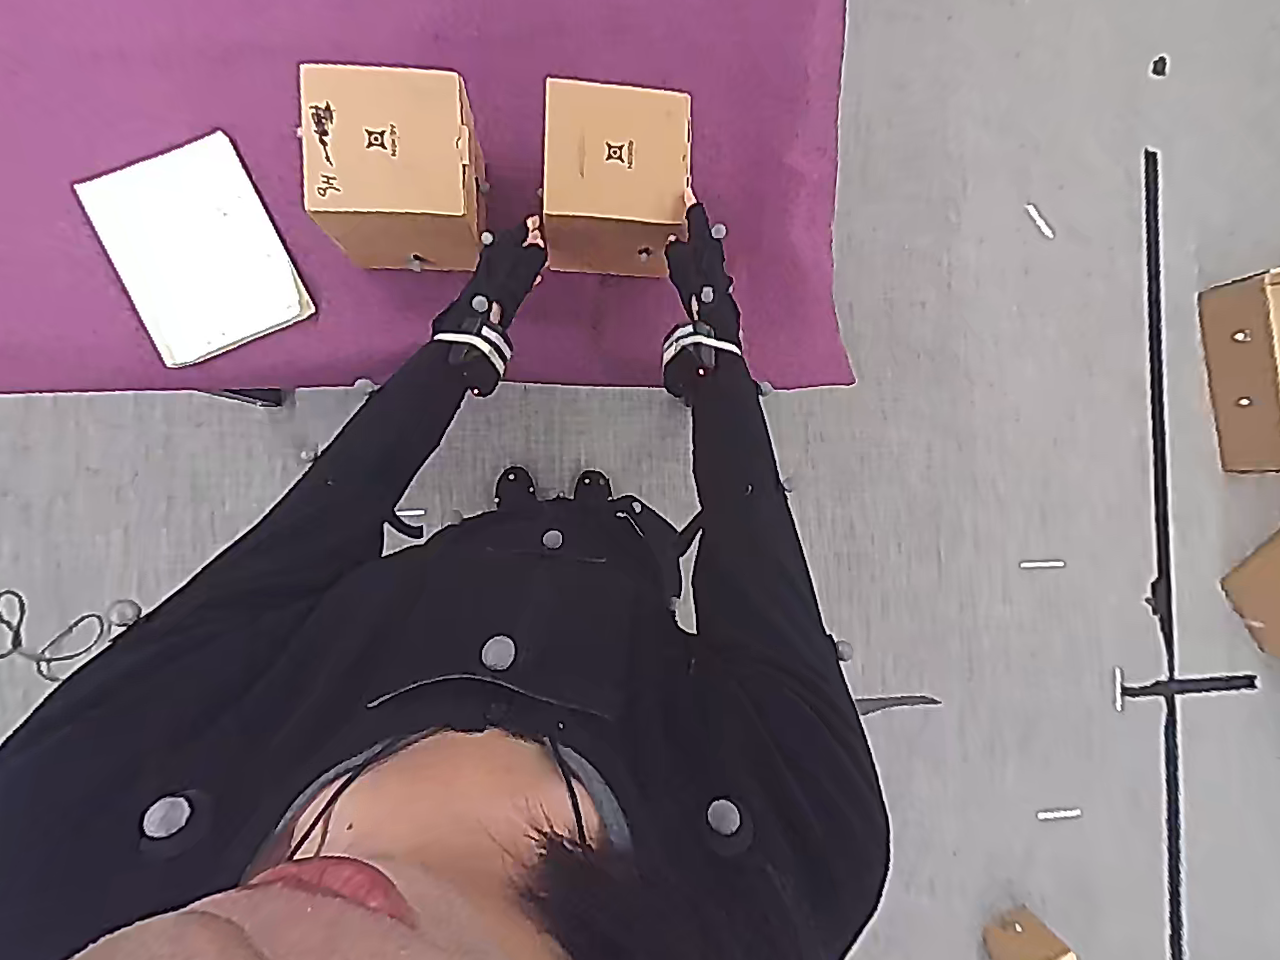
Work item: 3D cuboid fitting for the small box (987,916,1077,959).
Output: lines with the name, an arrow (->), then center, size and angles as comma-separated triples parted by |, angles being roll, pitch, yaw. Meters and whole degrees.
small box -> 1.185, 1.464, 1.604 | 0.168, 0.176, 0.179 | -24, 92, -7

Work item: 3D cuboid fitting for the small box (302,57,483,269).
small box -> -0.295, -0.381, 0.682 | 0.179, 0.176, 0.168 | -2, 89, -9

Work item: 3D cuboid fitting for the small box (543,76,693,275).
small box -> -0.033, -0.386, 0.717 | 0.179, 0.176, 0.168 | 1, 88, -5
